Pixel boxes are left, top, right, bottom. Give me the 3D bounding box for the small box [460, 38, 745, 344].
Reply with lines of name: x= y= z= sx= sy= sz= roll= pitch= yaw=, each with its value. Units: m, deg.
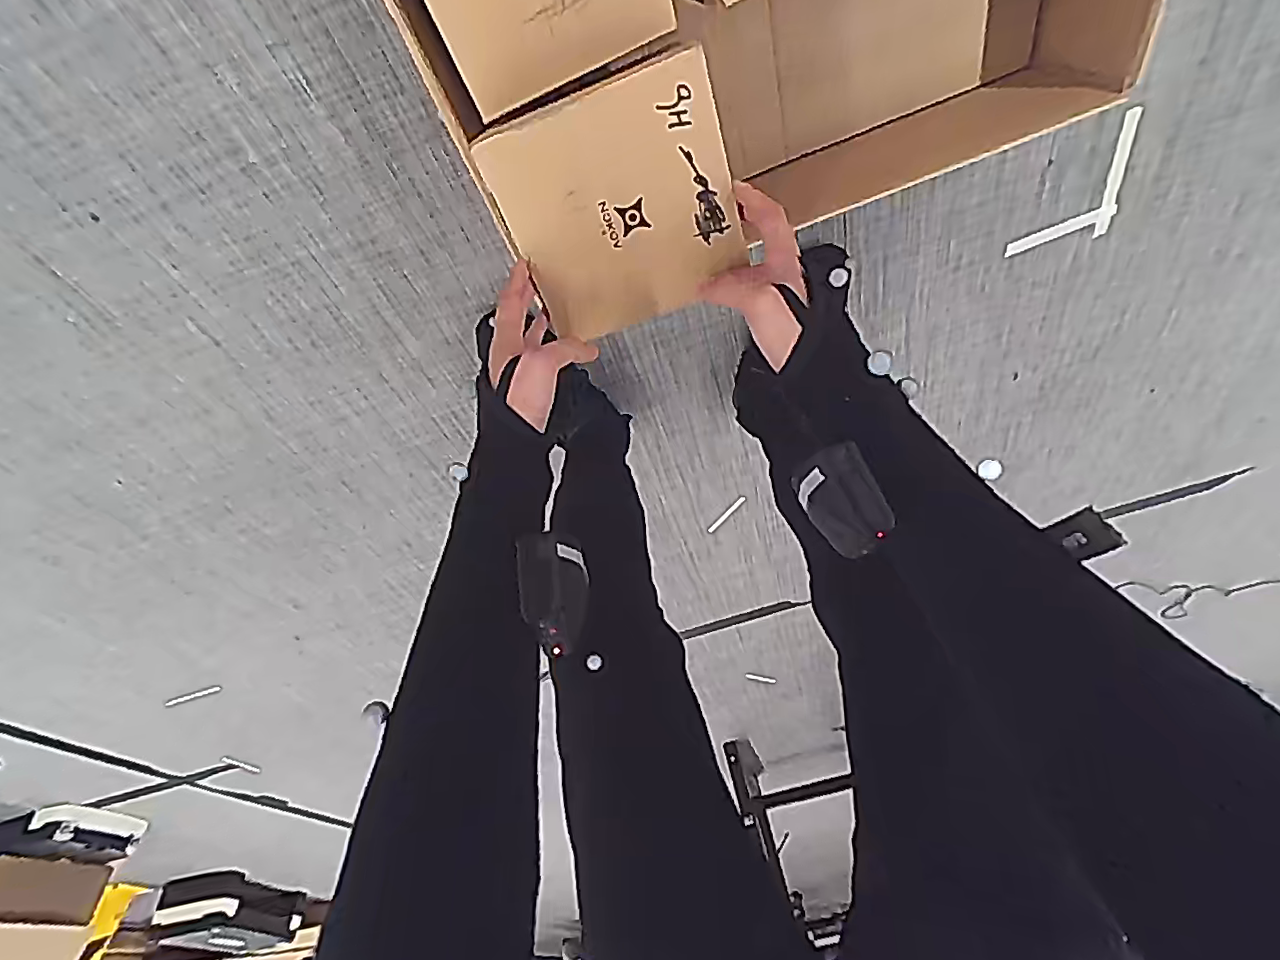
small box: x=-0.022 y=-0.250 z=0.469 sx=0.179 sy=0.176 sz=0.168 roll=-16 pitch=130 yaw=11
